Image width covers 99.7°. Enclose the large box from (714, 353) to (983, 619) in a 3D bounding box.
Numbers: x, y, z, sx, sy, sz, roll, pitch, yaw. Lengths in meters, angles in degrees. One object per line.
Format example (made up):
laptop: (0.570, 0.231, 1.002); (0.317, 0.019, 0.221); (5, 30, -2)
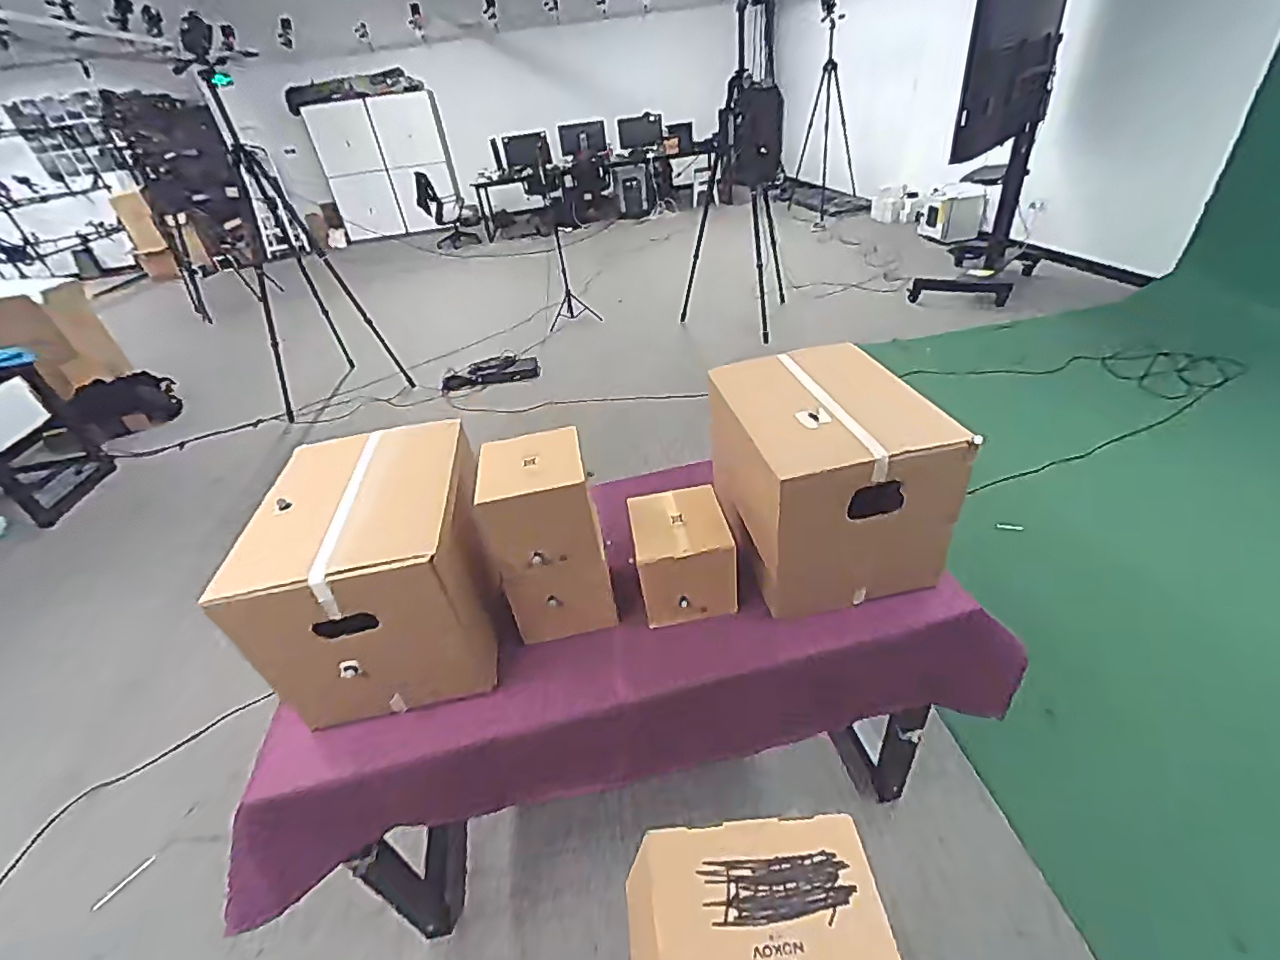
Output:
large box: (0.345, -0.007, 1.041); (0.320, 0.320, 0.408); (-11, 36, -4)
